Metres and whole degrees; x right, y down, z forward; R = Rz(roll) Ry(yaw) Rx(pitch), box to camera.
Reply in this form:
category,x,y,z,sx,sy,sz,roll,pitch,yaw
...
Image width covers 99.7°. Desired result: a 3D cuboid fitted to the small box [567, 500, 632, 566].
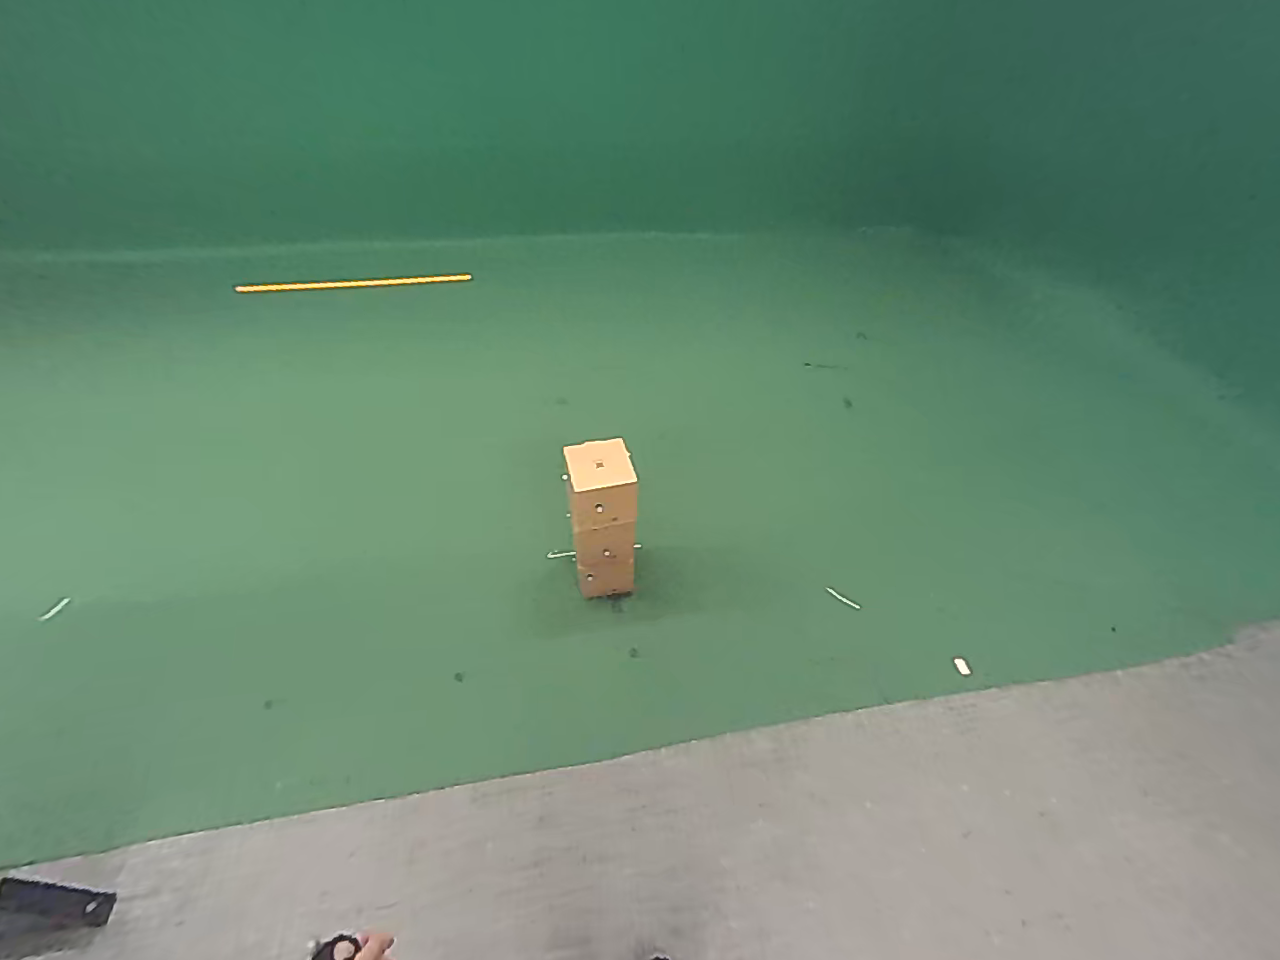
category,x,y,z,sx,sy,sz,roll,pitch,yaw
small box,-0.124,0.130,1.605,0.168,0.176,0.179,-9,47,-10

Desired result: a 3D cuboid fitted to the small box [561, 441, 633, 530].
category,x,y,z,sx,sy,sz,roll,pitch,yaw
small box,-0.117,0.021,1.485,0.168,0.176,0.179,-10,47,-12
